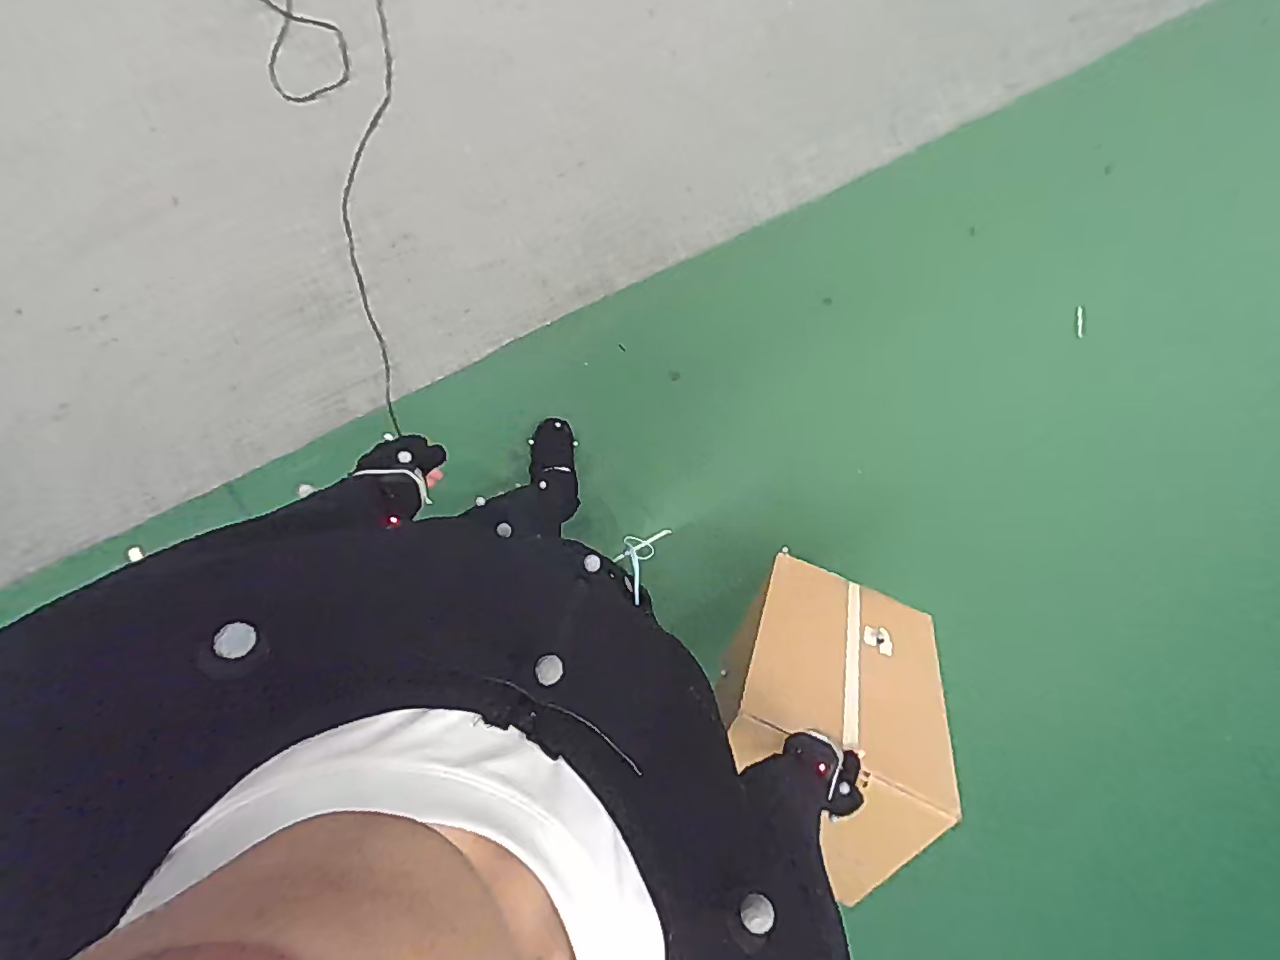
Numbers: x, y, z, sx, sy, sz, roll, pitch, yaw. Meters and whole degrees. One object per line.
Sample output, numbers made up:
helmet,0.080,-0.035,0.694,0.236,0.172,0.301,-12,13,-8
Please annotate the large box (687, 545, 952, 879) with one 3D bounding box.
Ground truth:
large box,0.312,0.398,0.994,0.320,0.408,0.320,23,122,9
